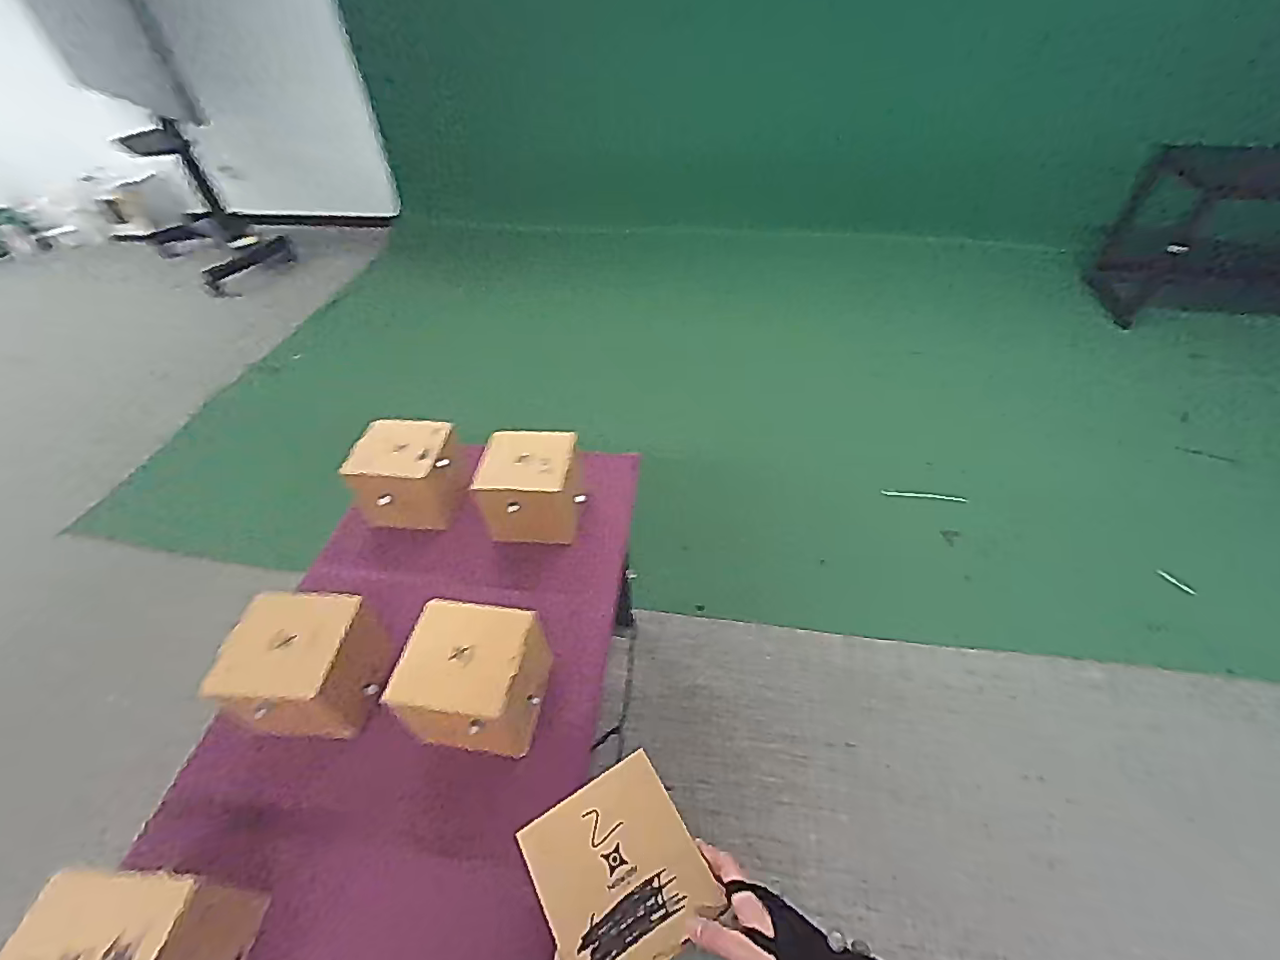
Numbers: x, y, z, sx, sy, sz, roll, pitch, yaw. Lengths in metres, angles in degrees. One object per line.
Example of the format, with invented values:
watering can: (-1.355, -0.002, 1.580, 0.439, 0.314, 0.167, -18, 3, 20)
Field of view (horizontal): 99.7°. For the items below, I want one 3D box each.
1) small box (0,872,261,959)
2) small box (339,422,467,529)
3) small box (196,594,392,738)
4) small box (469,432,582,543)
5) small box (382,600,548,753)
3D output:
small box: (-0.588, 0.565, 0.616, 0.179, 0.176, 0.168, 1, 46, 4)
small box: (-0.498, -0.008, 1.167, 0.179, 0.176, 0.168, 2, 47, 5)
small box: (-0.537, 0.301, 0.871, 0.179, 0.176, 0.168, 2, 47, 3)
small box: (-0.228, 0.016, 1.128, 0.179, 0.176, 0.168, 2, 47, 6)
small box: (-0.259, 0.310, 0.850, 0.179, 0.176, 0.168, 4, 46, 8)
